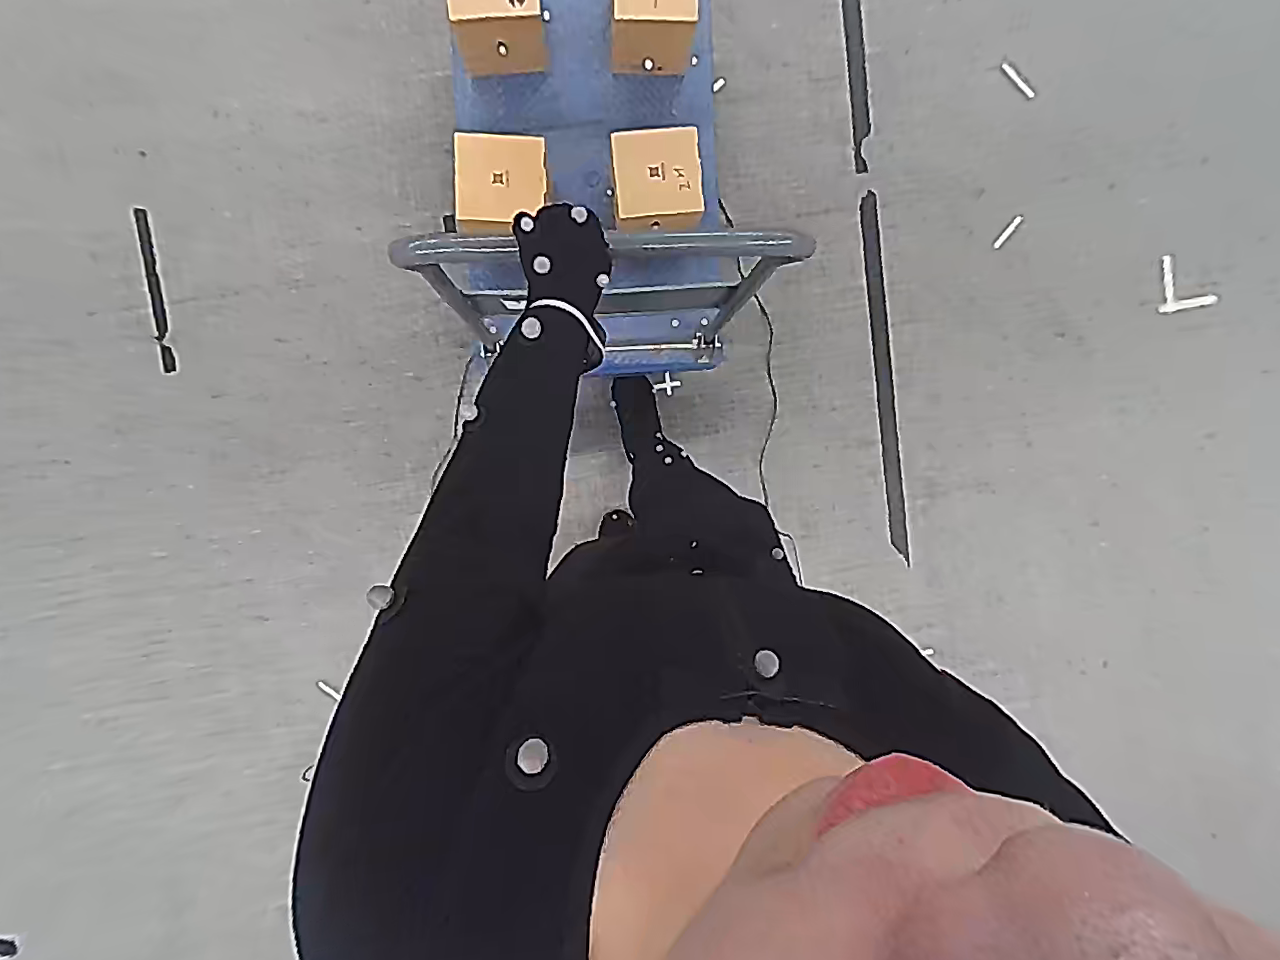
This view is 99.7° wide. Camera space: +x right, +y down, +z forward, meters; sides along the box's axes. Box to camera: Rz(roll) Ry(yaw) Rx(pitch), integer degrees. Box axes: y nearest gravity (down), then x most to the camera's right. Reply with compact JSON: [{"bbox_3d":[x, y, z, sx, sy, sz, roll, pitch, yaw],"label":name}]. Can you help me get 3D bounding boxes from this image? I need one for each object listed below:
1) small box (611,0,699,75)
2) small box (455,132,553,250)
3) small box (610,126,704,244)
[{"bbox_3d":[0.026,-0.988,1.119,0.168,0.176,0.179,-2,96,-4],"label":"small box"},{"bbox_3d":[-0.277,-0.595,1.132,0.179,0.176,0.168,0,95,-6],"label":"small box"},{"bbox_3d":[0.031,-0.619,1.153,0.179,0.176,0.168,-6,96,-3],"label":"small box"}]
